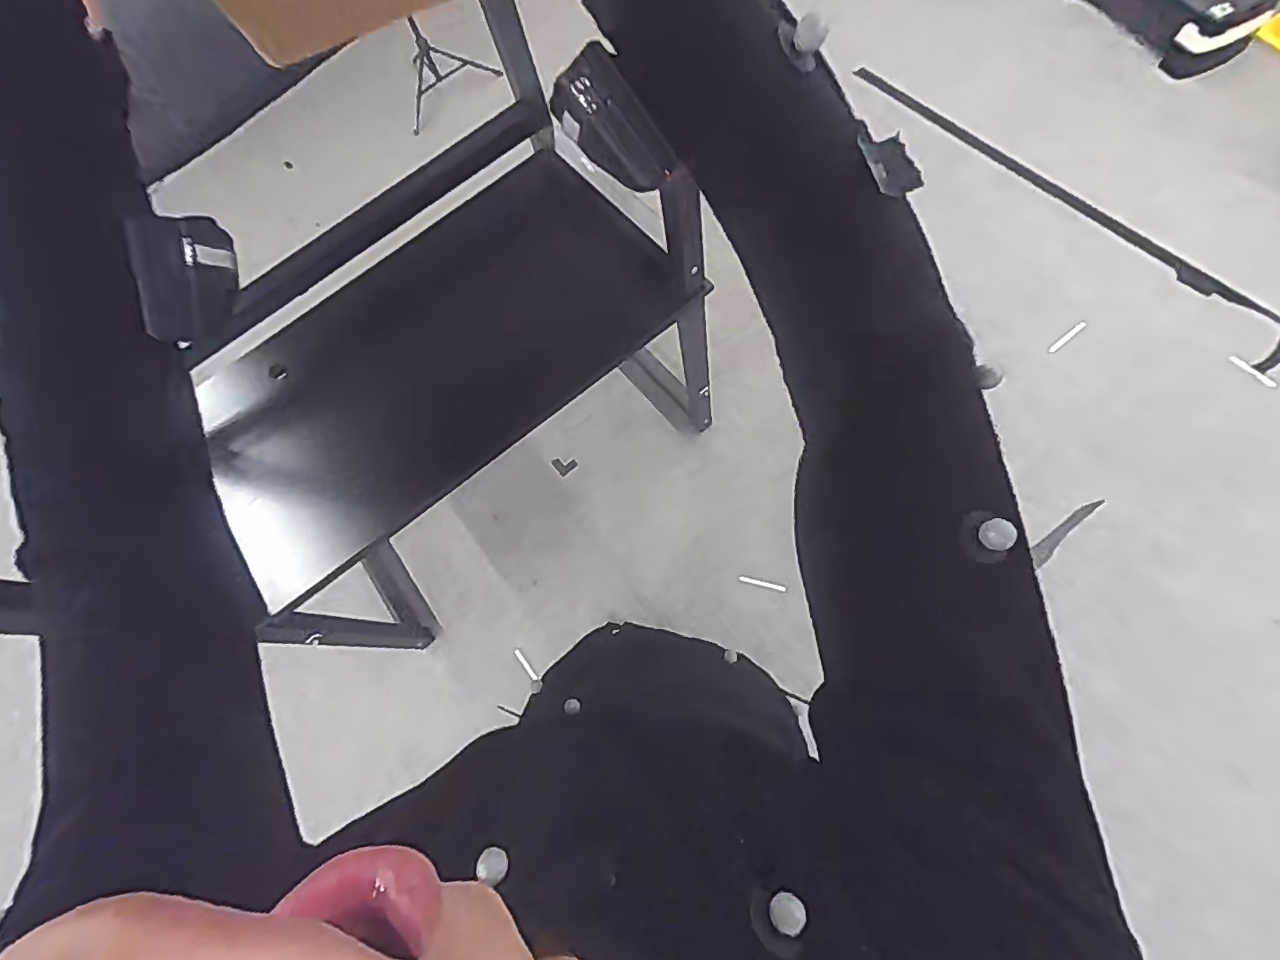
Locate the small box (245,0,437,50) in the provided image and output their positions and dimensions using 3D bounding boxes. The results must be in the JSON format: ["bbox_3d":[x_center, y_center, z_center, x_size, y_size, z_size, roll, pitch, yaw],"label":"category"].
[{"bbox_3d":[-0.168,-0.373,0.263,0.179,0.176,0.168,-18,84,5],"label":"small box"}]
